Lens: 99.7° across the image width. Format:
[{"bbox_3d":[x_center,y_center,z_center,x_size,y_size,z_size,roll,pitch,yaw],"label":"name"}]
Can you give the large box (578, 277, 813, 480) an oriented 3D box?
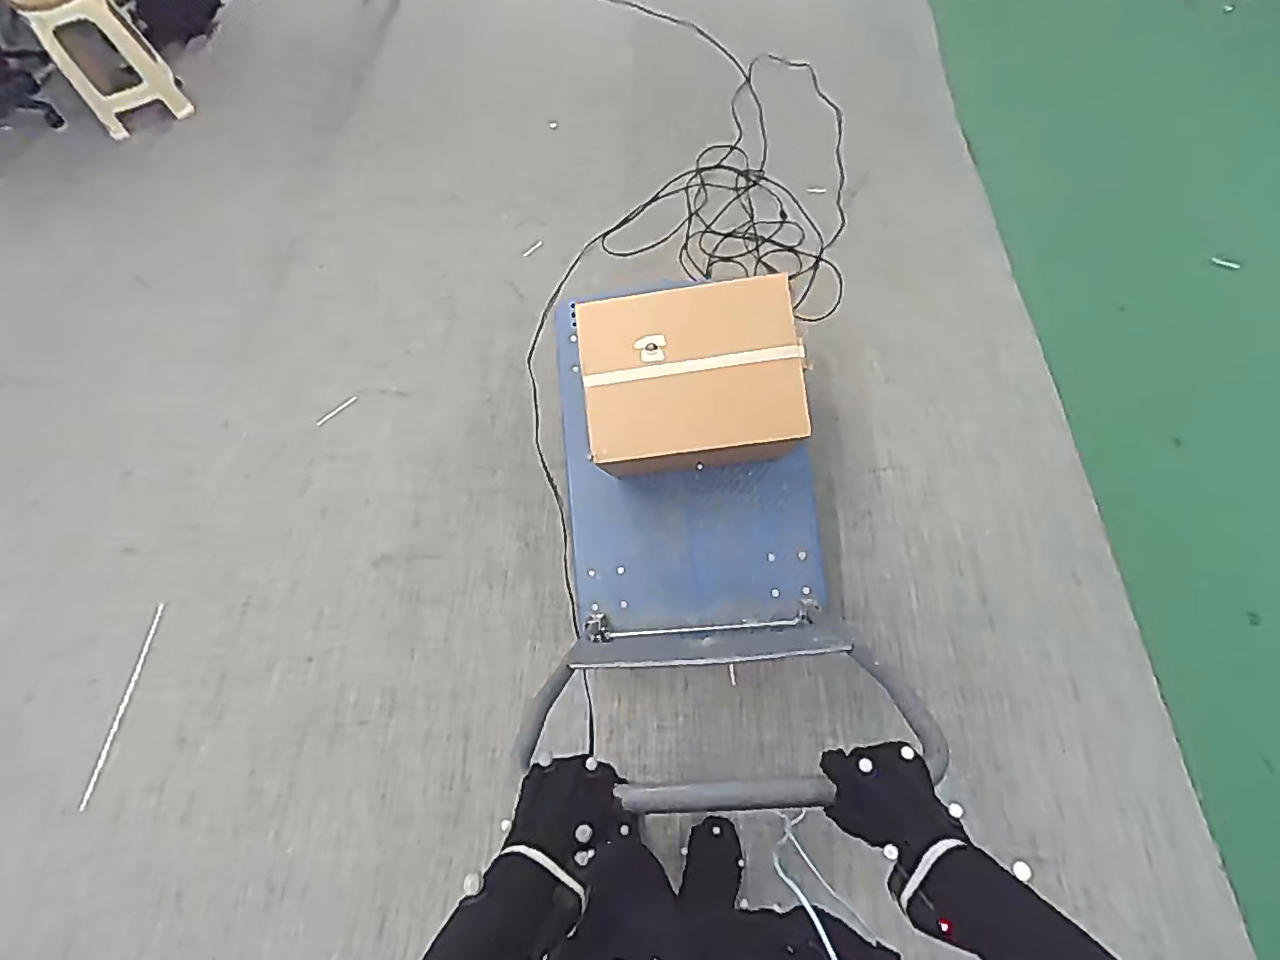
[{"bbox_3d":[0.115,-0.186,1.149,0.408,0.320,0.320,-8,84,6],"label":"large box"}]
